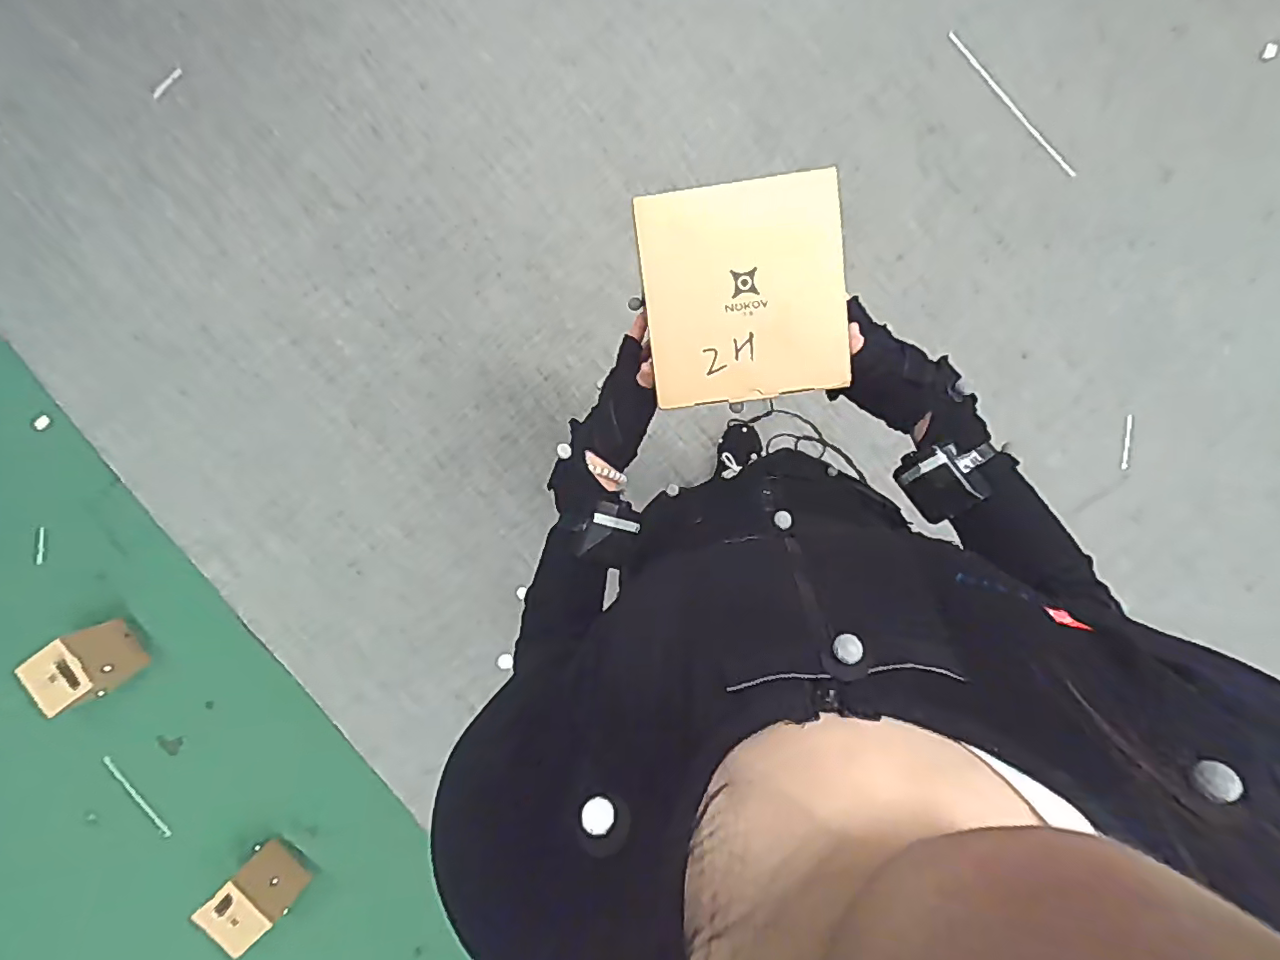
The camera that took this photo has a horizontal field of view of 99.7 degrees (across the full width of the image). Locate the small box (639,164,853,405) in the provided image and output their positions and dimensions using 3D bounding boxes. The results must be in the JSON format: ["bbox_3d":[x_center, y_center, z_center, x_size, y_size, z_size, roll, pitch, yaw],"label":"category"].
[{"bbox_3d":[0.089,-0.168,0.519,0.168,0.176,0.179,-7,99,3],"label":"small box"}]

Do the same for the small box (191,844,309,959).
[{"bbox_3d":[-1.118,1.203,1.563,0.168,0.176,0.179,-43,92,5],"label":"small box"}]
